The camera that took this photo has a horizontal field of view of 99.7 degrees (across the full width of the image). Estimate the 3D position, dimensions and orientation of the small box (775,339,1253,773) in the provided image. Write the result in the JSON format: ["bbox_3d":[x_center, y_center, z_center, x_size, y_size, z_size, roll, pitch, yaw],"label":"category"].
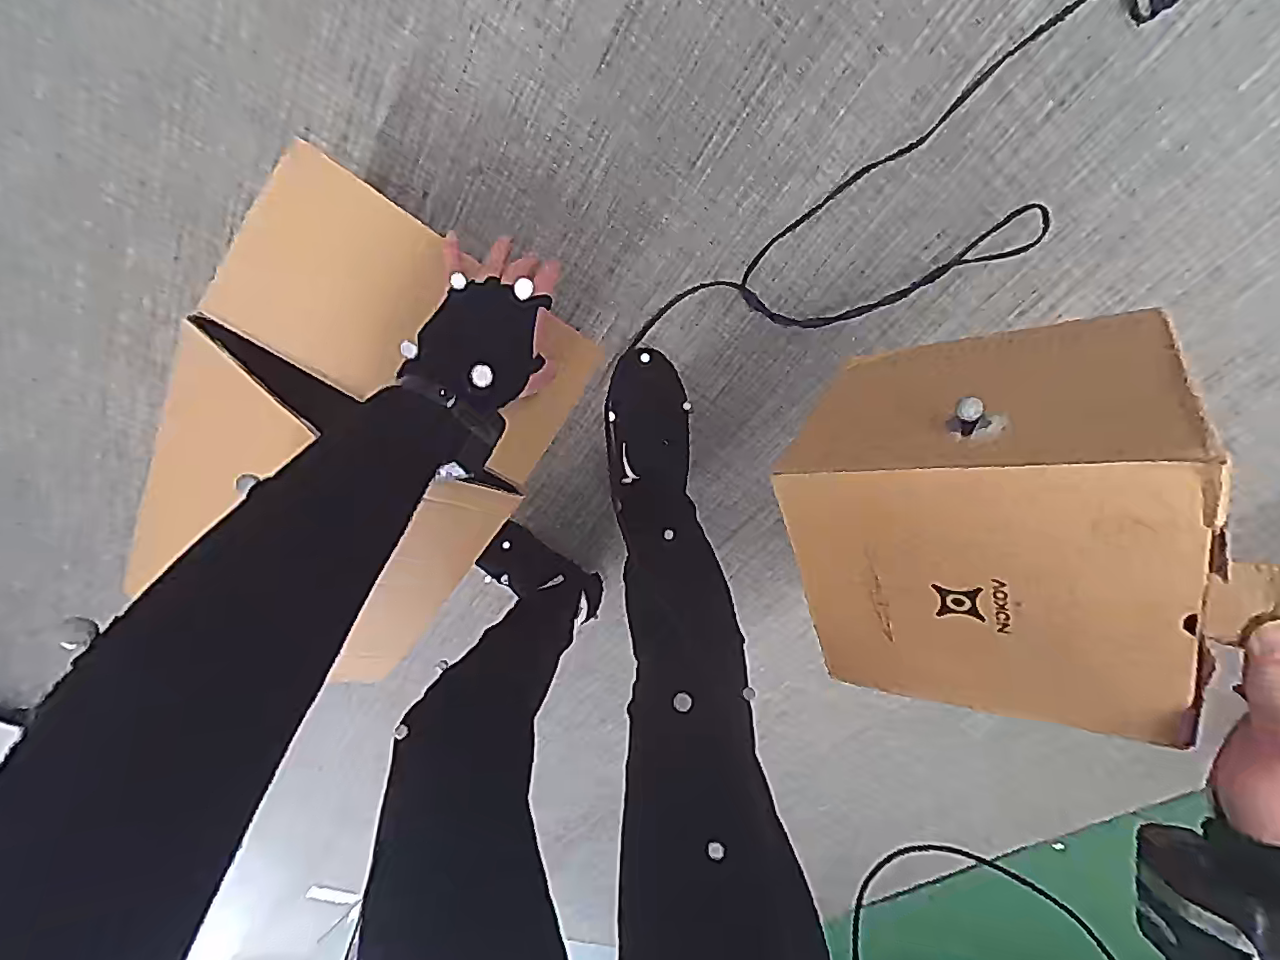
[{"bbox_3d":[0.203,0.027,0.324,0.179,0.176,0.168,1,121,36],"label":"small box"}]
